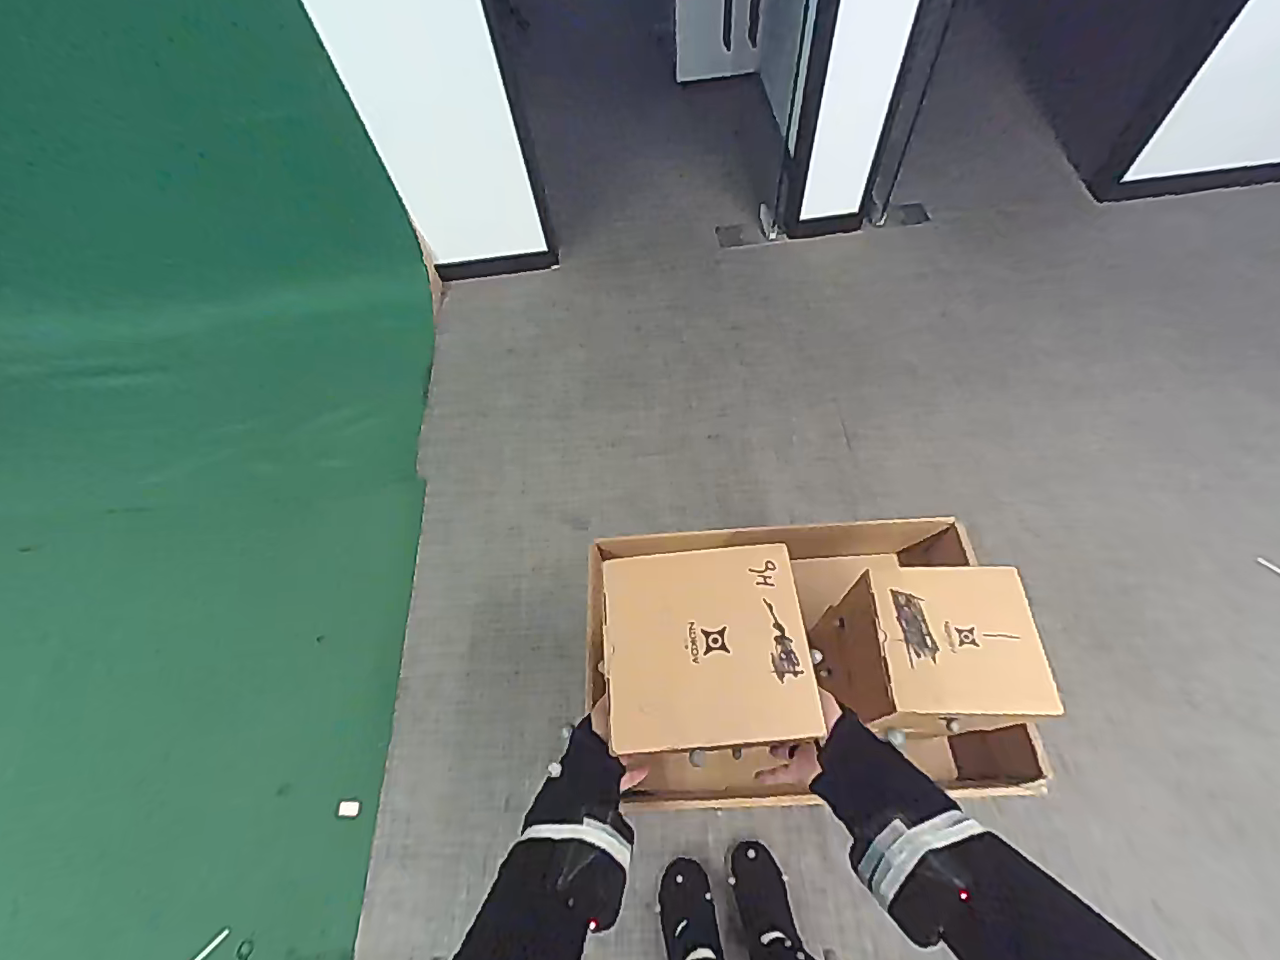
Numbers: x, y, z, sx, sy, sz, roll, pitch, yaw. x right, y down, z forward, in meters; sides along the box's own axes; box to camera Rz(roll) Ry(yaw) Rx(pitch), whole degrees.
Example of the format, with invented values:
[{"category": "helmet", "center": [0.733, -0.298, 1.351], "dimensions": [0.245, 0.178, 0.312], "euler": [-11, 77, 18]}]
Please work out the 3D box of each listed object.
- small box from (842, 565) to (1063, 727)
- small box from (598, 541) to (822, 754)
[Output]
[{"category": "small box", "center": [0.364, 0.213, 0.678], "dimensions": [0.179, 0.176, 0.168], "euler": [-1, 61, 4]}, {"category": "small box", "center": [0.060, 0.173, 0.535], "dimensions": [0.179, 0.176, 0.168], "euler": [-6, 63, 2]}]
